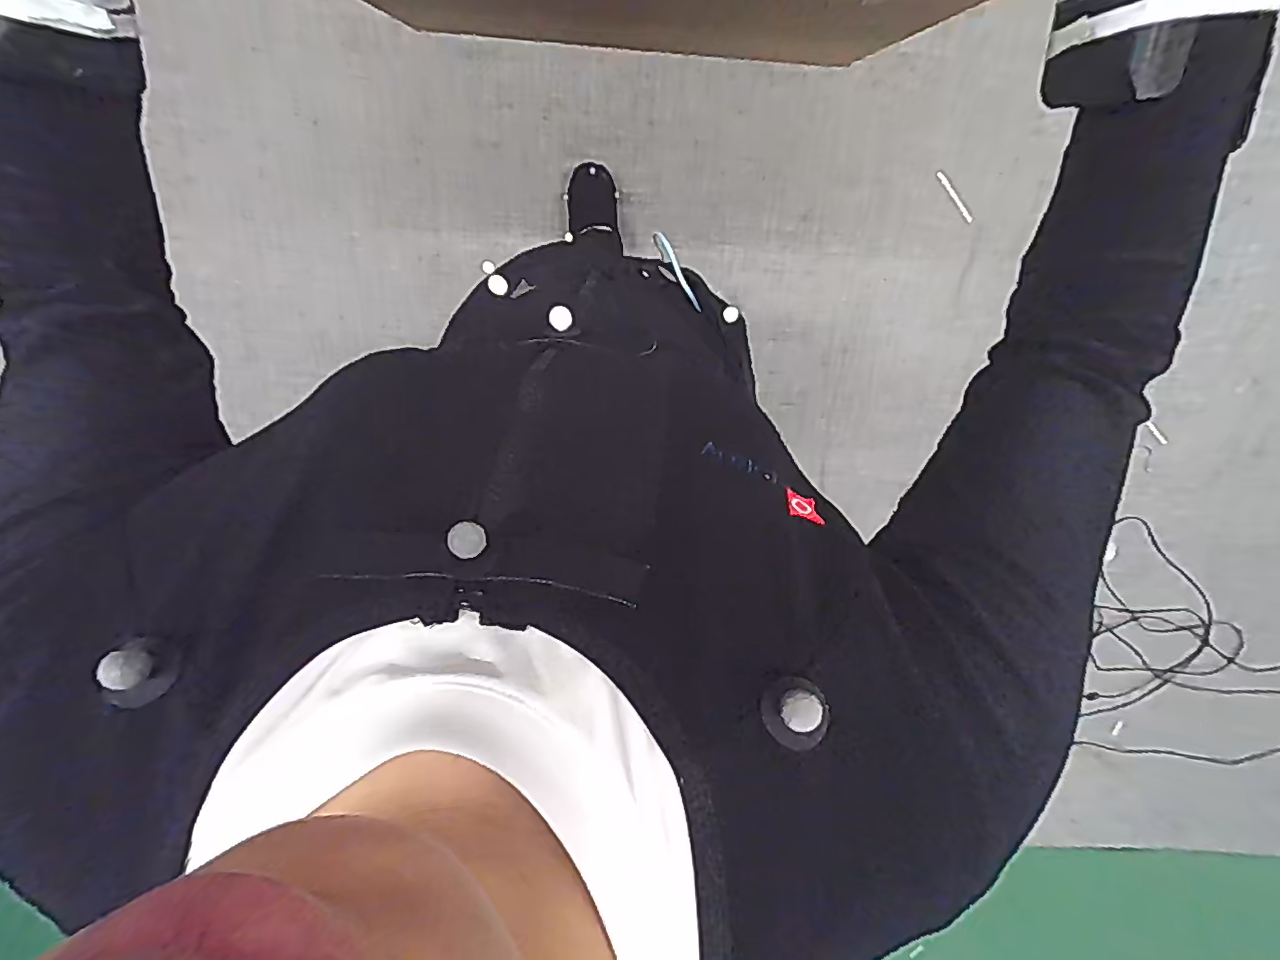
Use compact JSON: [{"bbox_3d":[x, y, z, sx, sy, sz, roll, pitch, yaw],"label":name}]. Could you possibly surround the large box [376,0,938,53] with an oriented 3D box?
[{"bbox_3d":[0.002,-0.459,0.296,0.408,0.320,0.320,3,121,-1],"label":"large box"}]
